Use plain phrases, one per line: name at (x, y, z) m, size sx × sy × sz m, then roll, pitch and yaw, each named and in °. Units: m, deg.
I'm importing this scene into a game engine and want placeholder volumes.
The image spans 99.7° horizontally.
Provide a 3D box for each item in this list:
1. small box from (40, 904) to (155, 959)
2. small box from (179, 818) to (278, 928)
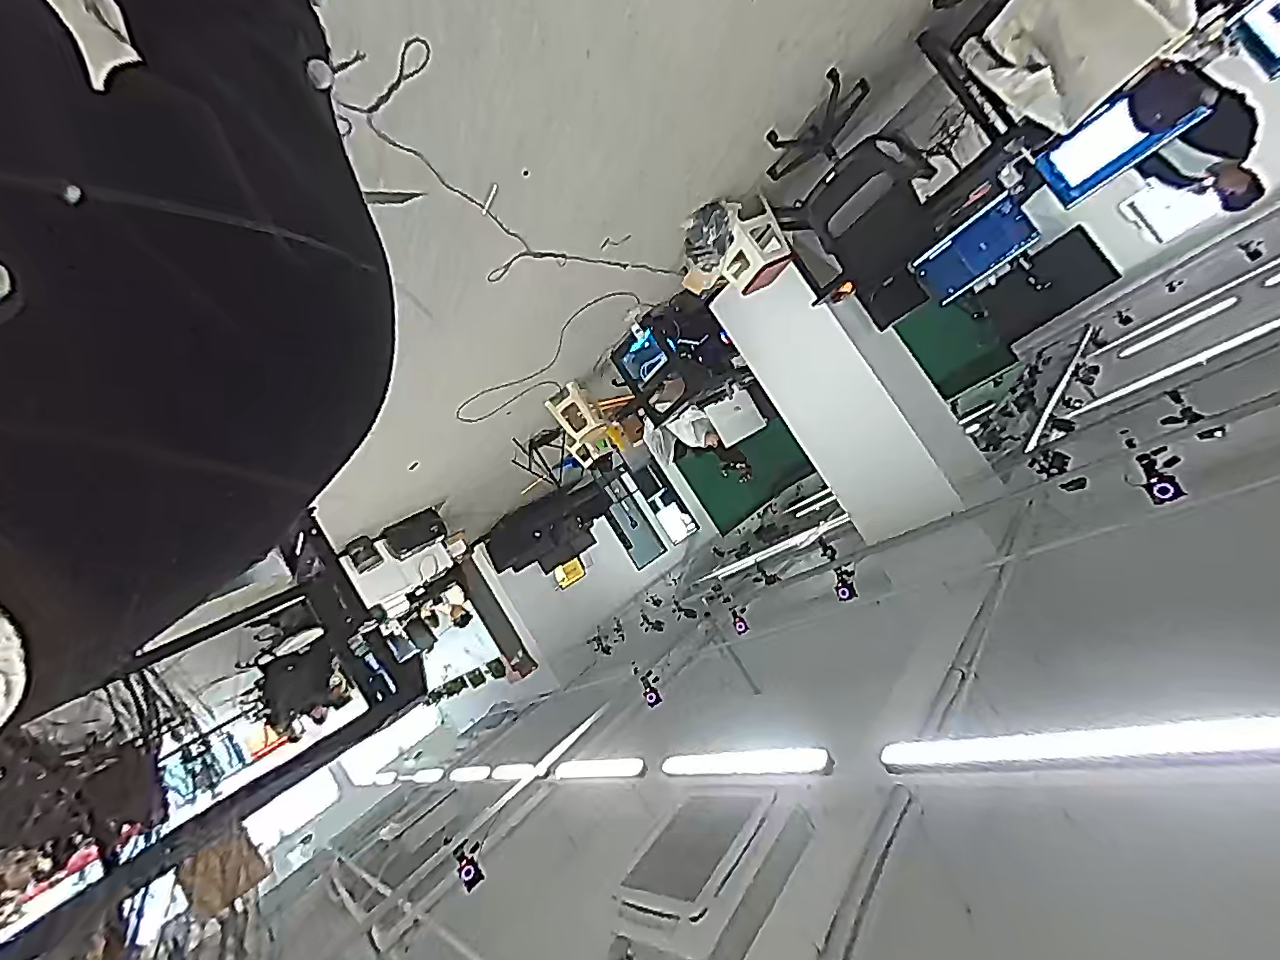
small box at (-1.297, 1.155, 1.285) m, size 0.168 × 0.176 × 0.179 m, roll -30°, pitch 175°, yaw -44°
small box at (-1.120, 1.058, 1.472) m, size 0.168 × 0.176 × 0.179 m, roll -28°, pitch 176°, yaw -43°
